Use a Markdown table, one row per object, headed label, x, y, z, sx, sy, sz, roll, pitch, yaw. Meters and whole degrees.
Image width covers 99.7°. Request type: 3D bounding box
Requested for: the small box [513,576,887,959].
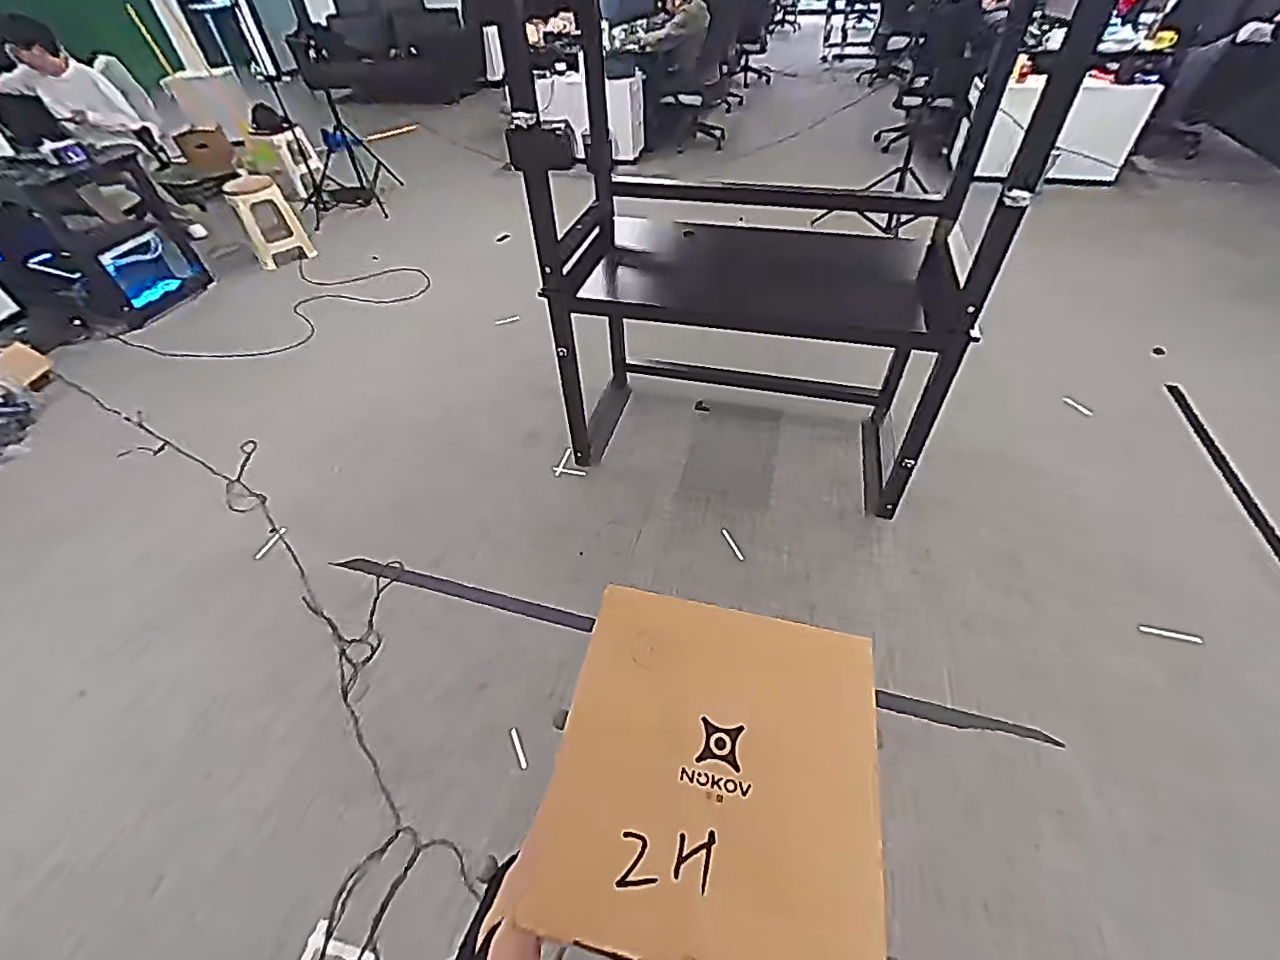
| label | x | y | z | sx | sy | sz | roll | pitch | yaw |
| --- | --- | --- | --- | --- | --- | --- | --- | --- | --- |
| small box | 0.039 | 0.190 | 0.342 | 0.168 | 0.176 | 0.179 | 10 | 52 | 8 |
